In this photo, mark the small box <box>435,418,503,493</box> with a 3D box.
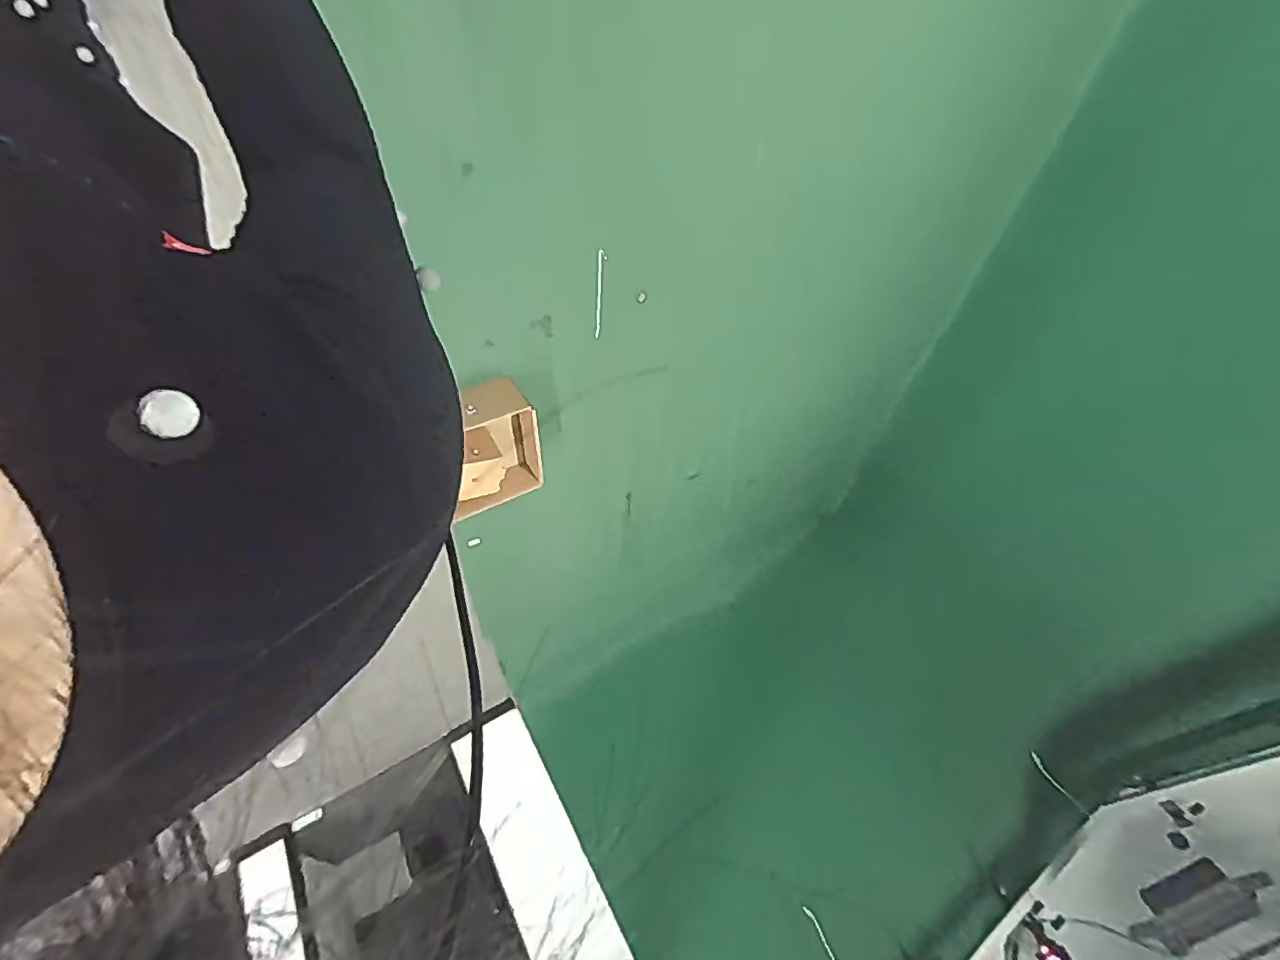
[{"bbox_3d":[-0.575,-0.085,1.800,0.179,0.176,0.168,-14,143,-32],"label":"small box"}]
